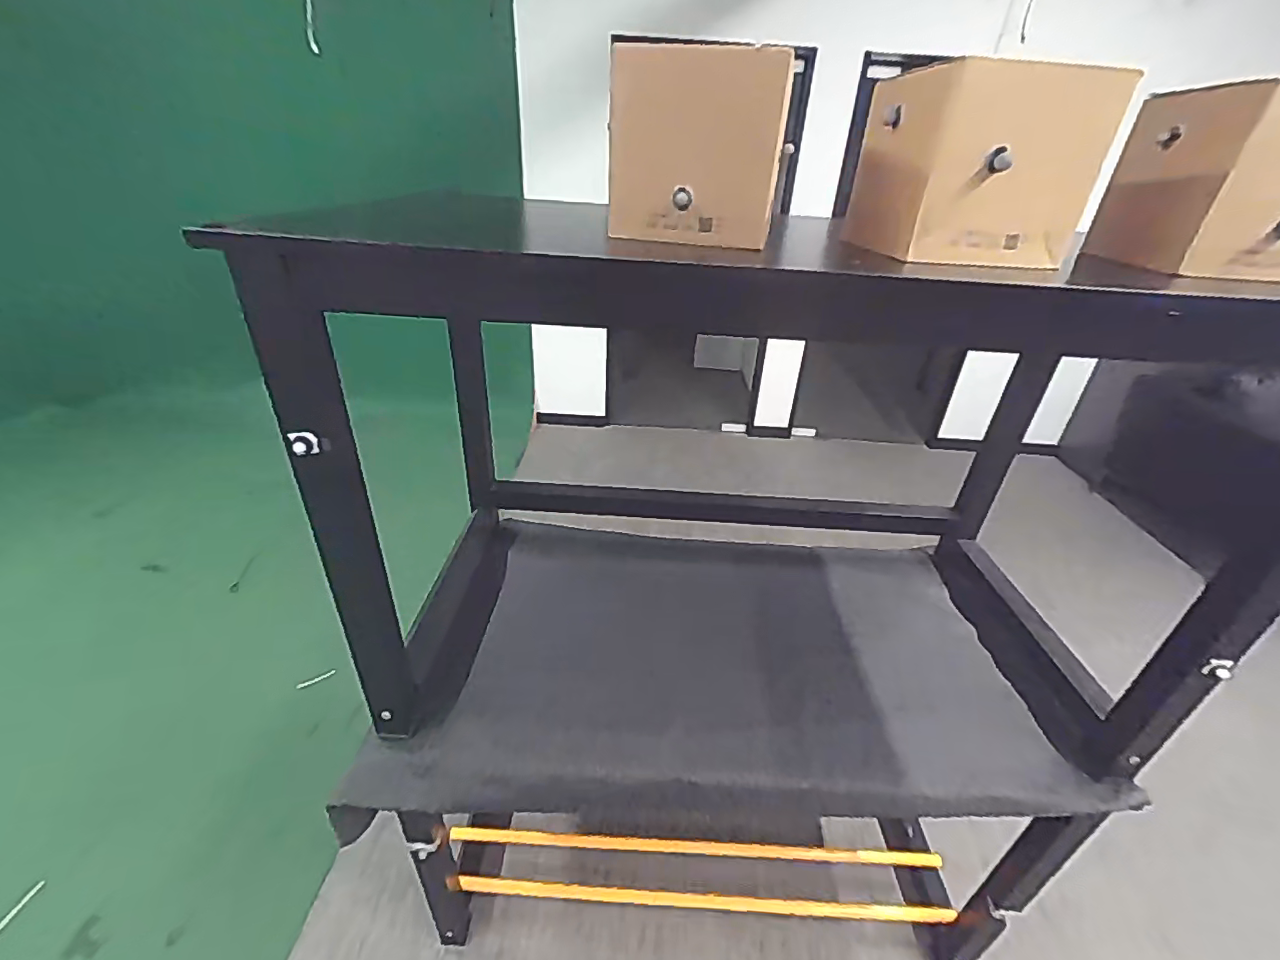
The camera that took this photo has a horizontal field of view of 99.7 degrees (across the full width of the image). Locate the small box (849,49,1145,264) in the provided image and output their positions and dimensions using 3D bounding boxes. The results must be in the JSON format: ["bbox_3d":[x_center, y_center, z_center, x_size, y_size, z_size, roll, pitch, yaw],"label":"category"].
[{"bbox_3d":[0.344,-0.328,0.566,0.168,0.176,0.179,1,30,-4],"label":"small box"}]

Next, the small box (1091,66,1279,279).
[{"bbox_3d":[0.637,-0.316,0.569,0.168,0.176,0.179,6,31,5],"label":"small box"}]
